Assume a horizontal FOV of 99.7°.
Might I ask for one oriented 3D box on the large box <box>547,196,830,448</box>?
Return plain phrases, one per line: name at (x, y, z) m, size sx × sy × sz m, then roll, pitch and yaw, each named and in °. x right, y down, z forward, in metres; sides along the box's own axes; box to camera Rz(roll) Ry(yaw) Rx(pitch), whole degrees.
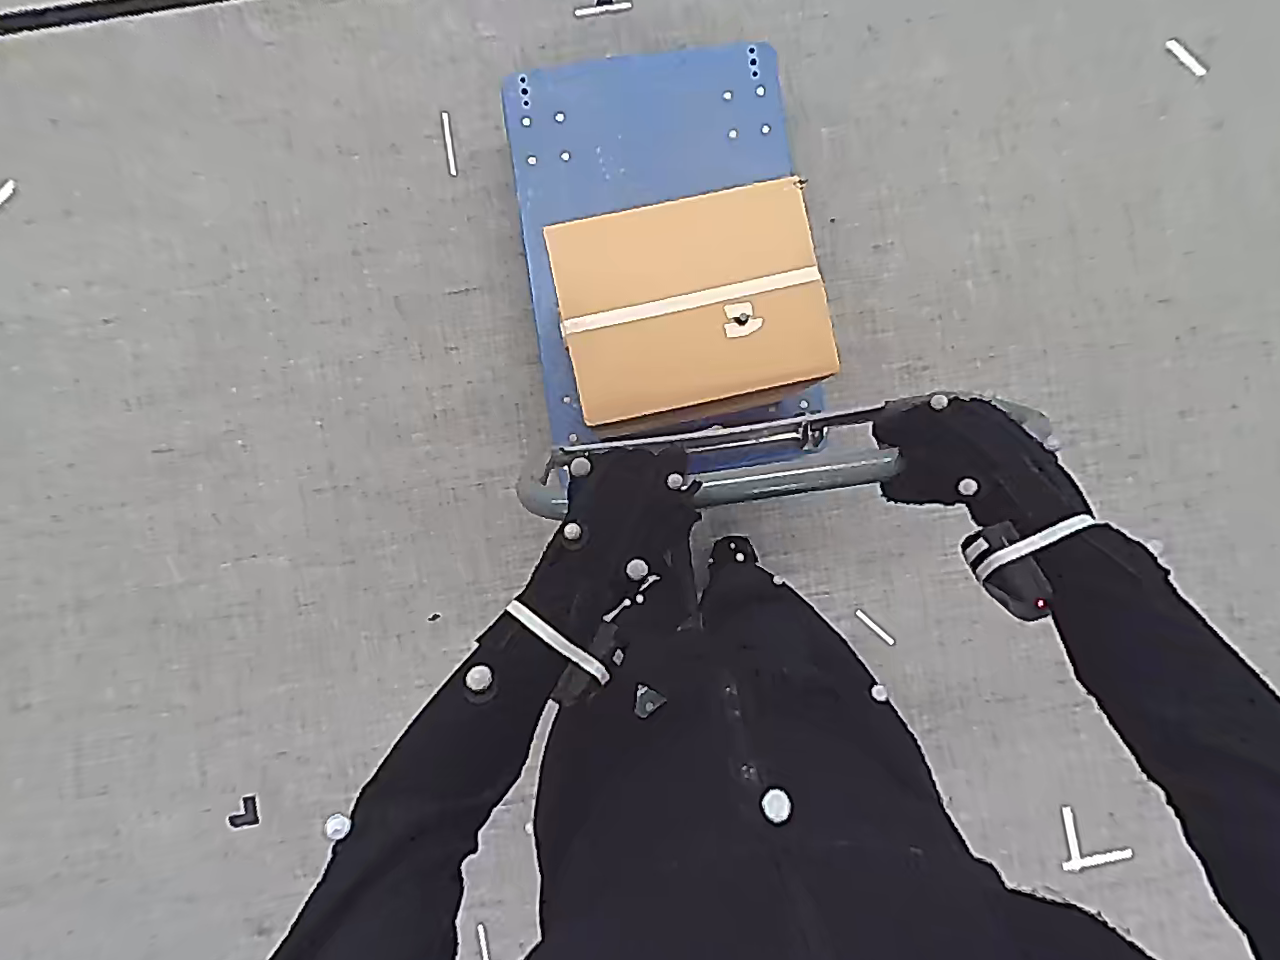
large box at (0.073, -0.259, 1.003) m, size 0.408 × 0.320 × 0.320 m, roll -13°, pitch 91°, yaw -2°
